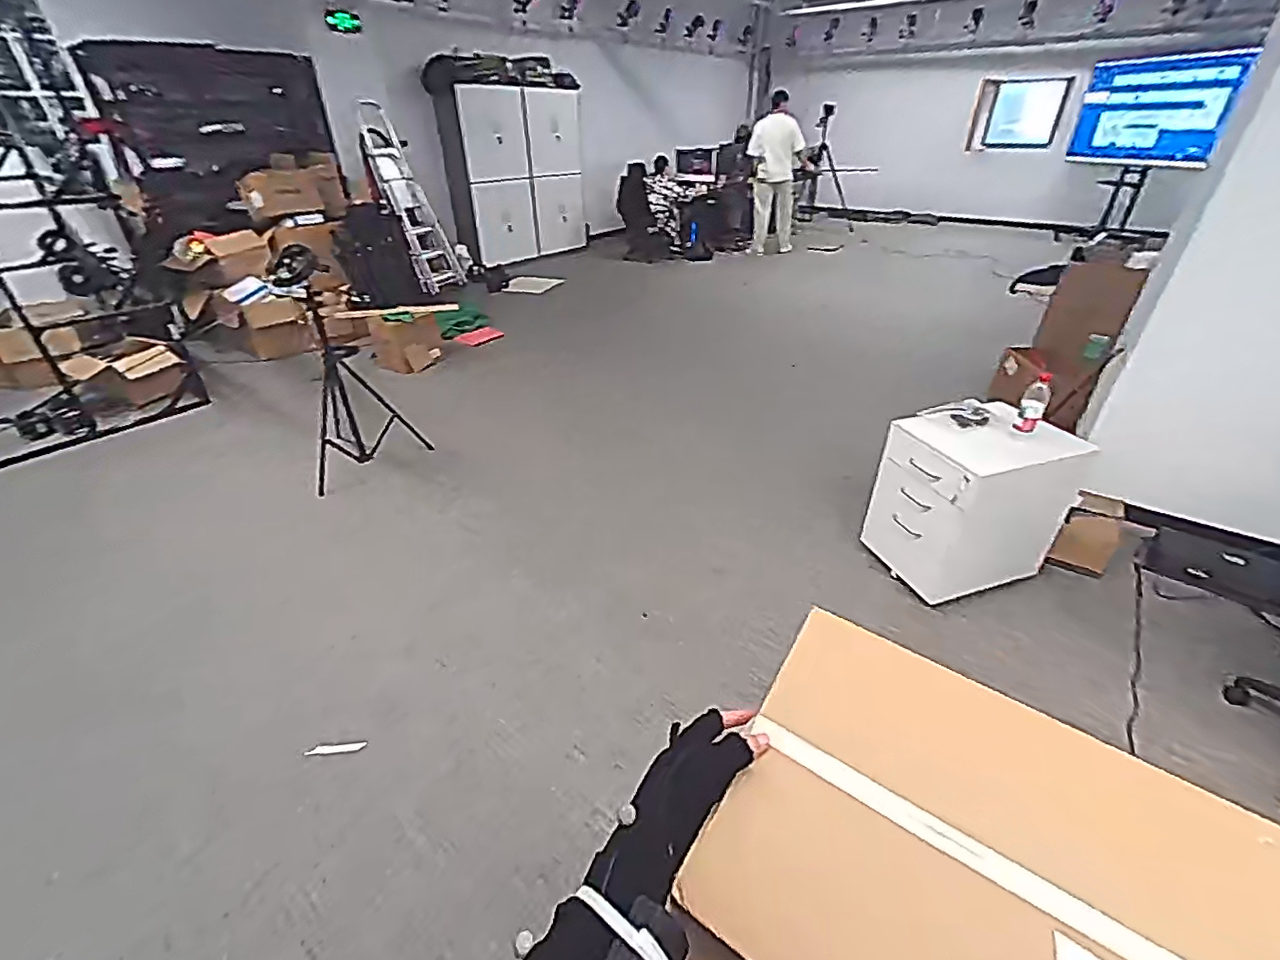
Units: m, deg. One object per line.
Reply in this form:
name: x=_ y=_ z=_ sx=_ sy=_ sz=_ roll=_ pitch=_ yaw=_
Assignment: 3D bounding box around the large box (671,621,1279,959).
large box: x=0.278 y=0.421 z=0.538 sx=0.408 sy=0.320 sz=0.320 roll=24 pitch=49 yaw=25
